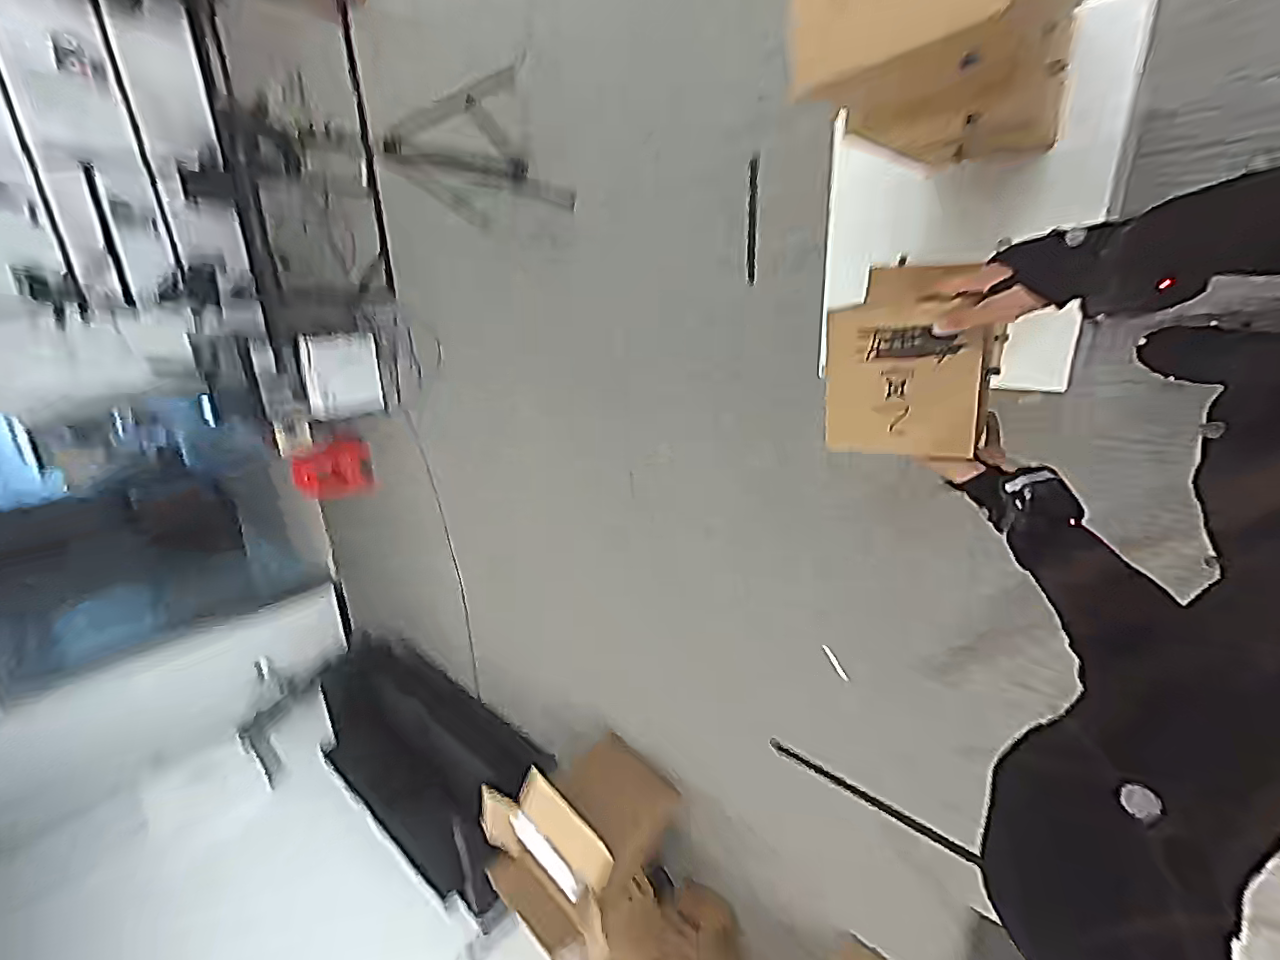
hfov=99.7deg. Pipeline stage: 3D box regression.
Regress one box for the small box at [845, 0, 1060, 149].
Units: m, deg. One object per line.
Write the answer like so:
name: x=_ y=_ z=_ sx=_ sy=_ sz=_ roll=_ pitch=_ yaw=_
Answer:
small box: x=0.354 y=-0.491 z=0.611 sx=0.179 sy=0.176 sz=0.168 roll=14 pitch=116 yaw=39

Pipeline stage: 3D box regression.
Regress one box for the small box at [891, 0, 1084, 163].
small box: x=0.463 y=-0.539 z=0.725 sx=0.179 sy=0.176 sz=0.168 roll=13 pitch=117 yaw=40

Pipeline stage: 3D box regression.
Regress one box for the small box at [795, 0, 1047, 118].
small box: x=0.256 y=-0.455 z=0.485 sx=0.179 sy=0.176 sz=0.168 roll=8 pitch=112 yaw=42

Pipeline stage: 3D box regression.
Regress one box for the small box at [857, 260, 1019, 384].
small box: x=0.465 y=-0.254 z=0.843 sx=0.179 sy=0.176 sz=0.168 roll=17 pitch=117 yaw=39
